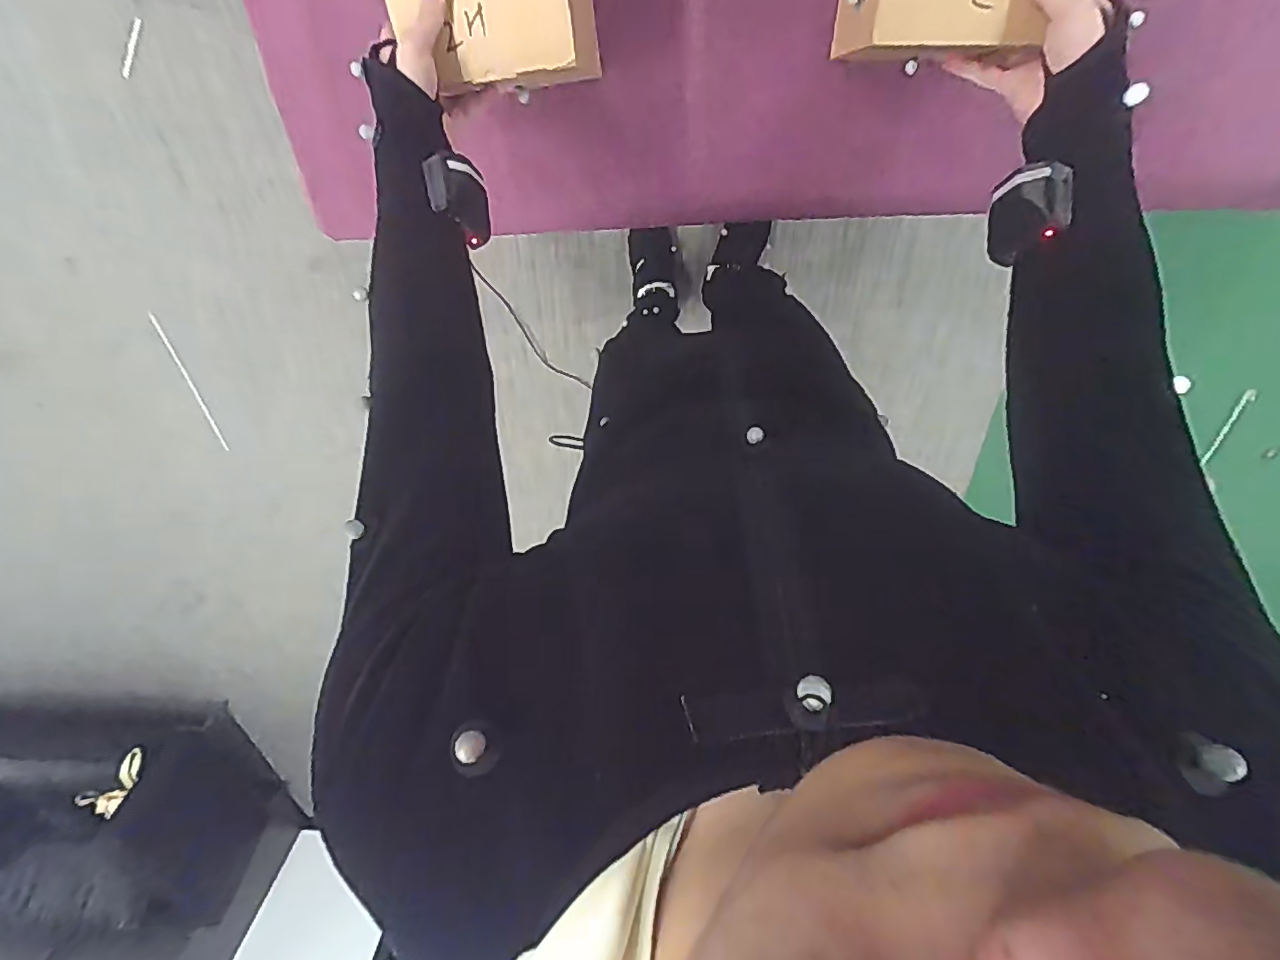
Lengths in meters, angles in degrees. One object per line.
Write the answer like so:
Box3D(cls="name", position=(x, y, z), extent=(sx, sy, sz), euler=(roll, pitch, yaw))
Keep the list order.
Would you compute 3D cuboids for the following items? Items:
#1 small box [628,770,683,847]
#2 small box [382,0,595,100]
Box3D(cls="small box", position=(0.055, 1.133, 1.871), extent=(0.168, 0.176, 0.179), euler=(9, 125, 2))
Box3D(cls="small box", position=(-0.146, -0.493, 0.532), extent=(0.168, 0.176, 0.179), euler=(-3, 123, 8))
